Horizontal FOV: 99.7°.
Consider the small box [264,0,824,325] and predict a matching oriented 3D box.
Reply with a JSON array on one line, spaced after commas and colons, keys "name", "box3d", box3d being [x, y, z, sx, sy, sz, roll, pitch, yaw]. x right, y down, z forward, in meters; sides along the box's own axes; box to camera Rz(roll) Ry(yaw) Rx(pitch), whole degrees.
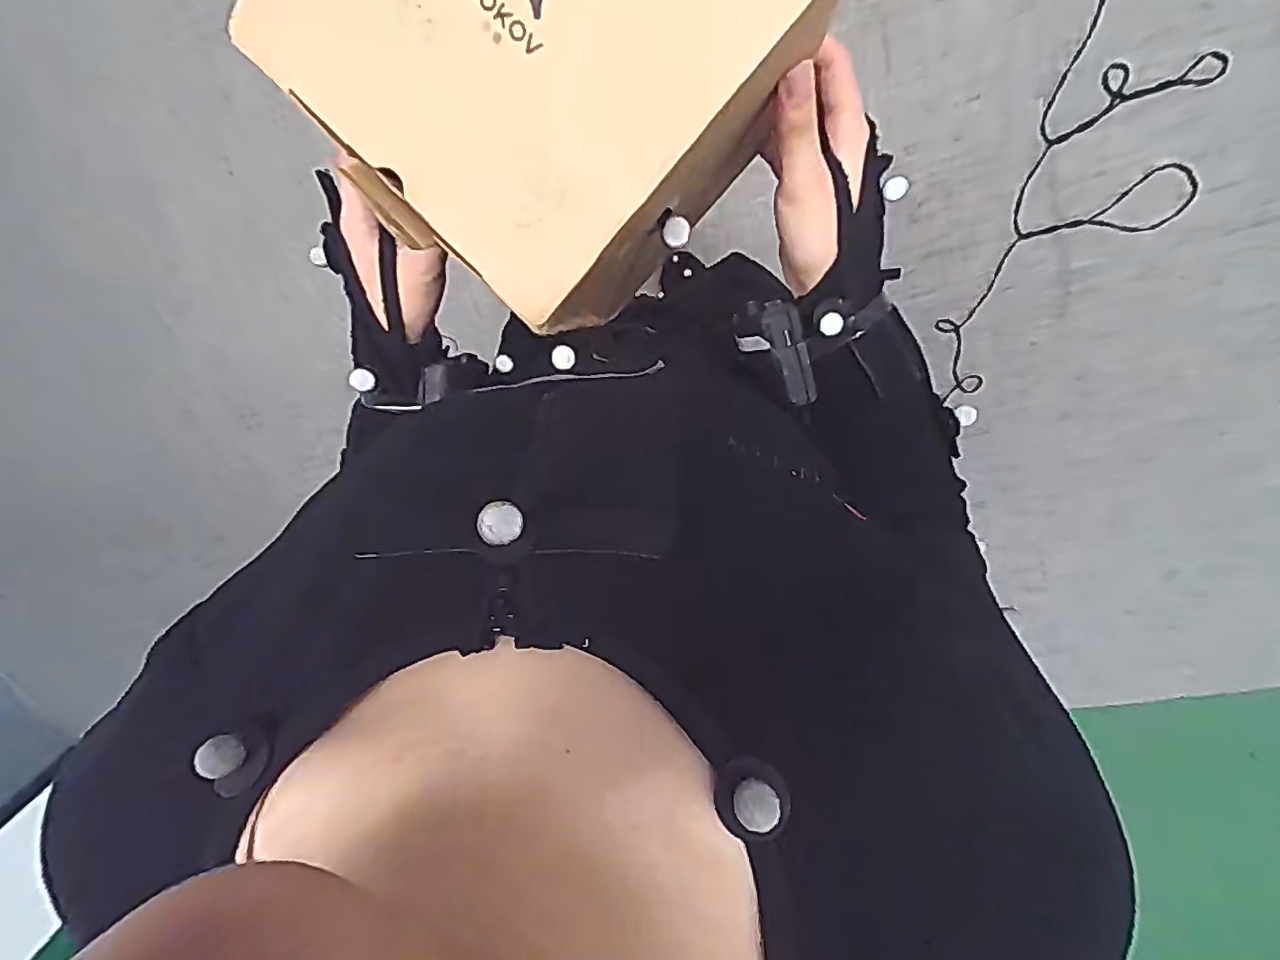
[{"name": "small box", "box3d": [-0.032, -0.203, 0.284, 0.168, 0.176, 0.179, 43, 107, -7]}]
